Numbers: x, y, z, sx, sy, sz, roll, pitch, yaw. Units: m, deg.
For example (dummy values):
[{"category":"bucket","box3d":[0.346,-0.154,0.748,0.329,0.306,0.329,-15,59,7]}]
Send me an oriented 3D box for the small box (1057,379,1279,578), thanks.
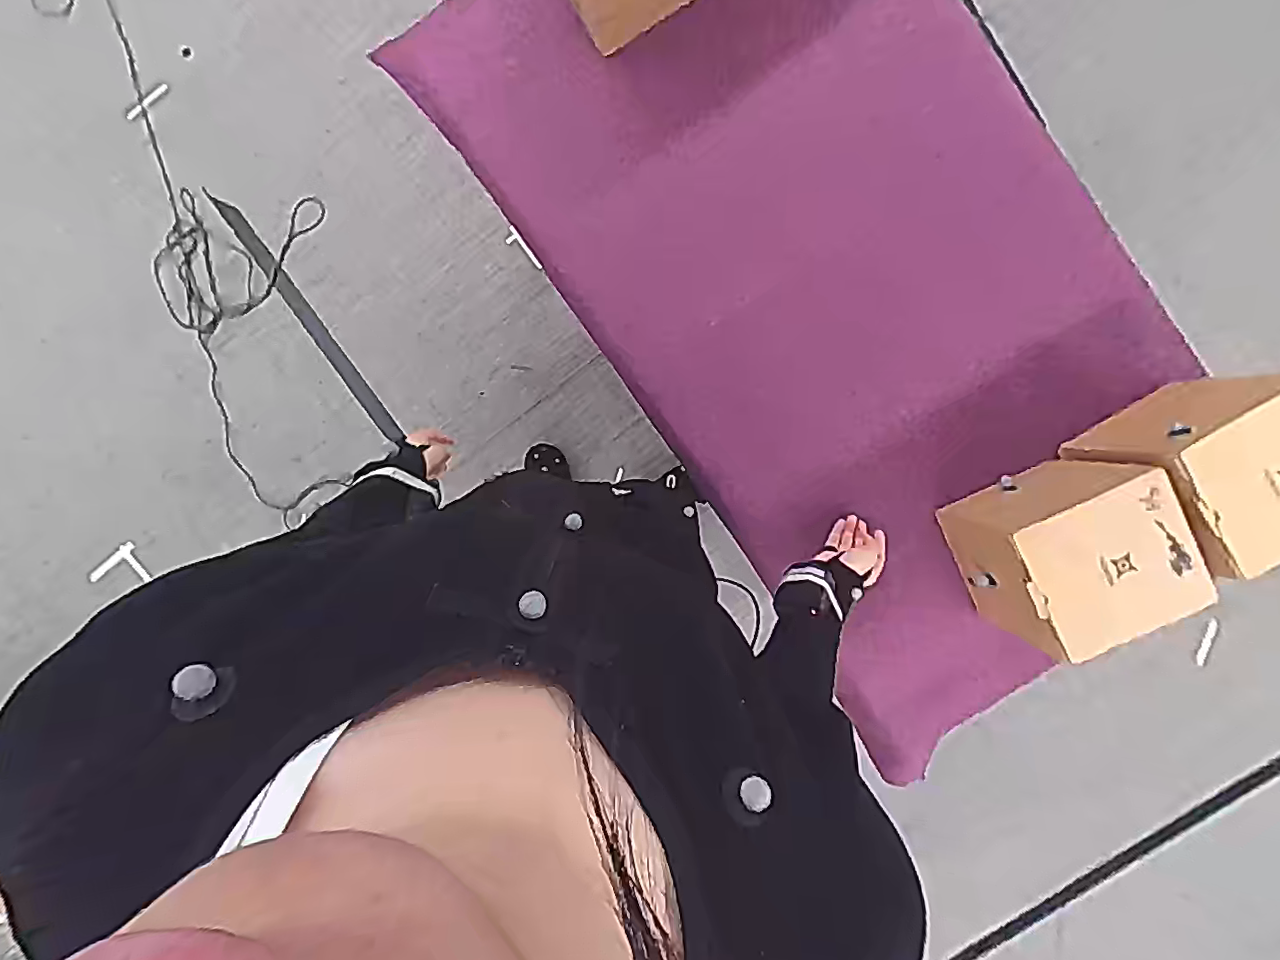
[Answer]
[{"category":"small box","box3d":[0.678,-0.012,0.661,0.179,0.176,0.168,-32,94,3]}]
